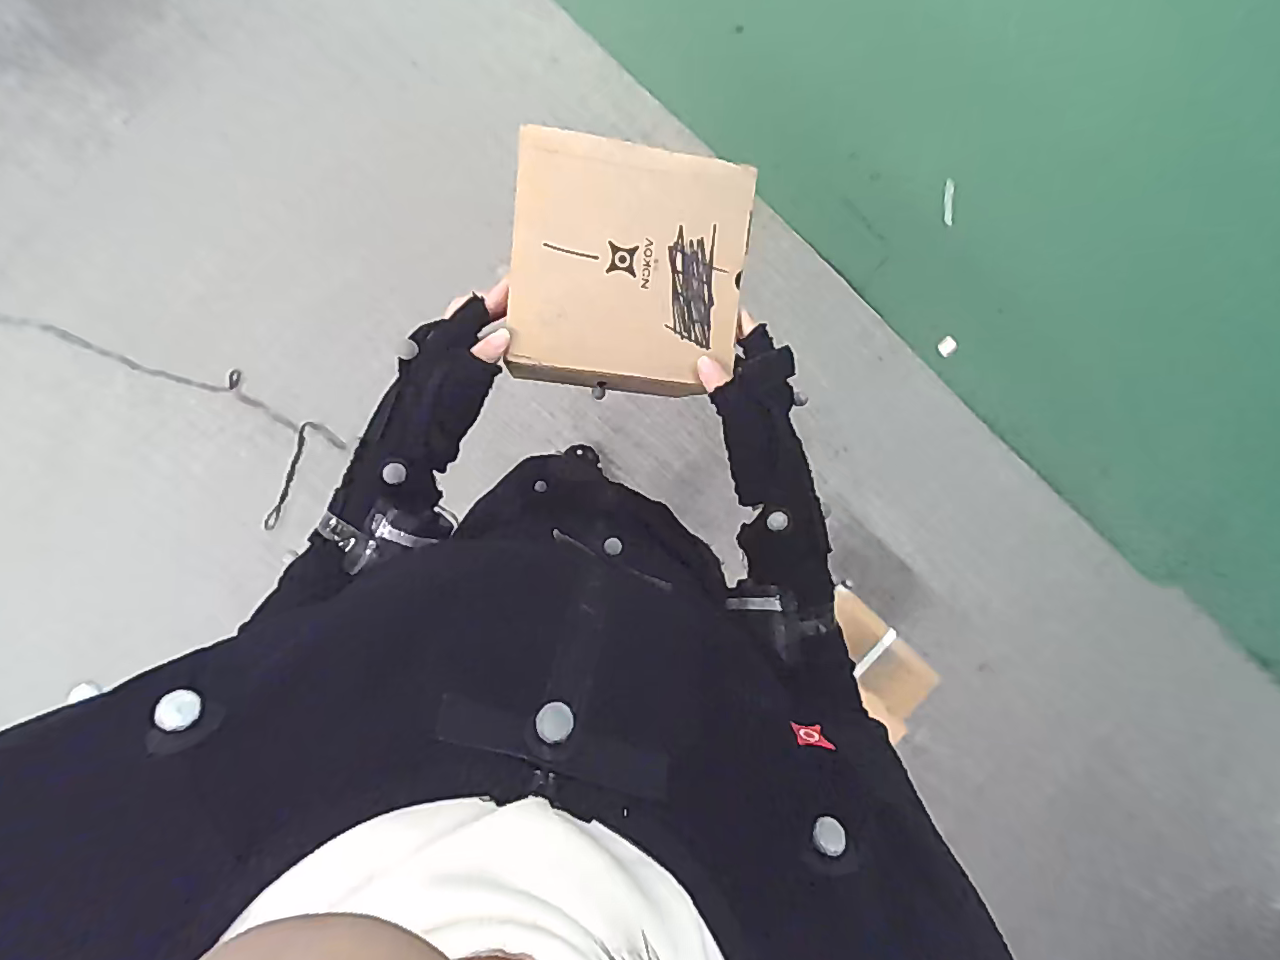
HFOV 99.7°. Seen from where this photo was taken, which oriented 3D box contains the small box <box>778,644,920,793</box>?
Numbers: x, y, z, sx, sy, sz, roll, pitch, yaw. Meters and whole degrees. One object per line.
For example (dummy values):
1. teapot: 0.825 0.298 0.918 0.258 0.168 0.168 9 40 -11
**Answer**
1. small box: 0.400 0.459 1.072 0.168 0.176 0.179 42 92 -1
